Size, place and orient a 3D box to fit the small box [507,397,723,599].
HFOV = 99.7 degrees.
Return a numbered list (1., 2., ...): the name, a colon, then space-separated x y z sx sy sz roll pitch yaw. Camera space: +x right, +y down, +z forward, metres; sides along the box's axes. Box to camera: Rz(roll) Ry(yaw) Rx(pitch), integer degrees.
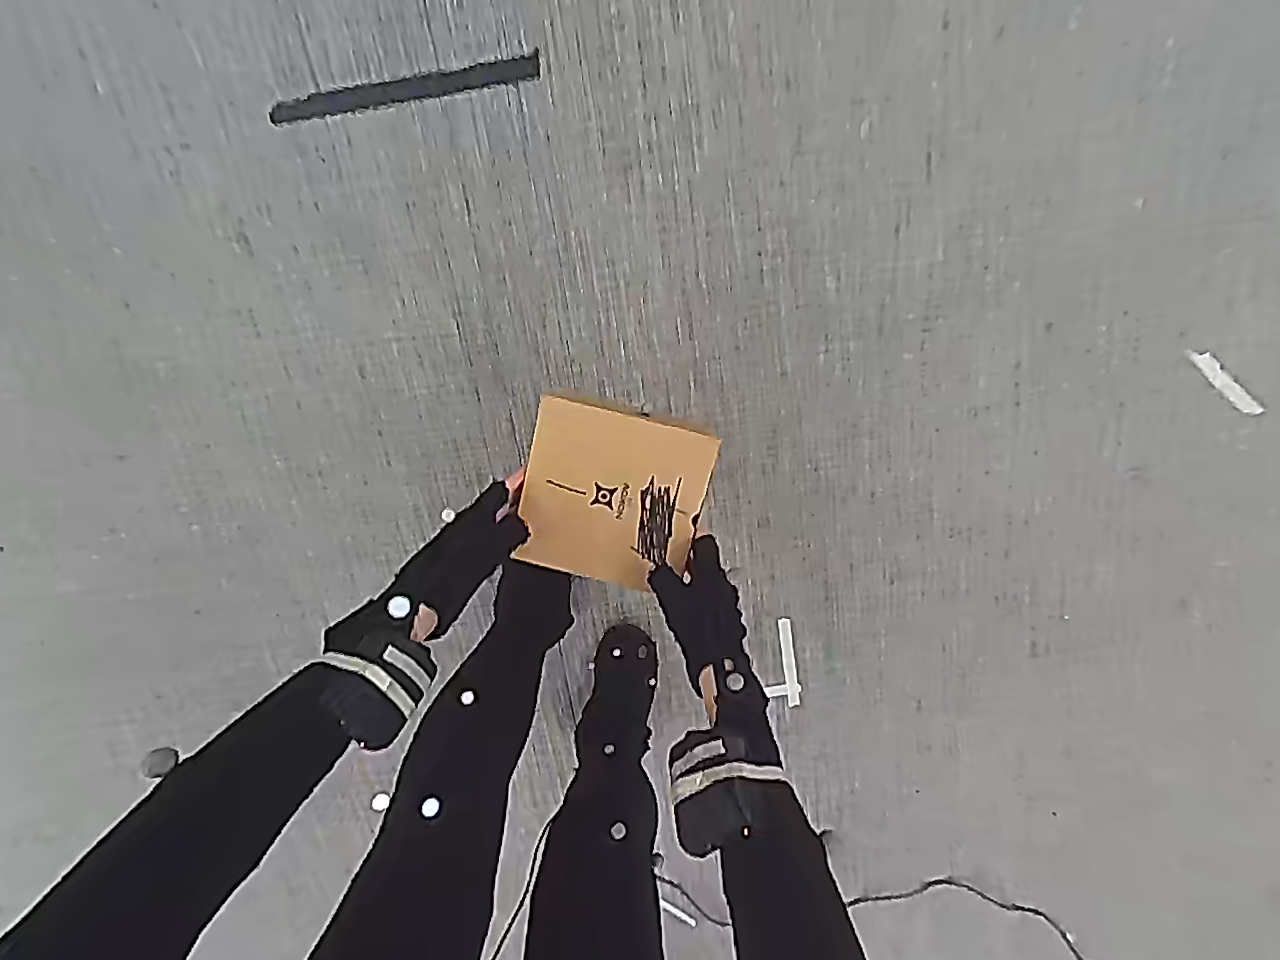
1. small box: -0.025 0.007 0.590 0.179 0.176 0.168 14 99 -2
